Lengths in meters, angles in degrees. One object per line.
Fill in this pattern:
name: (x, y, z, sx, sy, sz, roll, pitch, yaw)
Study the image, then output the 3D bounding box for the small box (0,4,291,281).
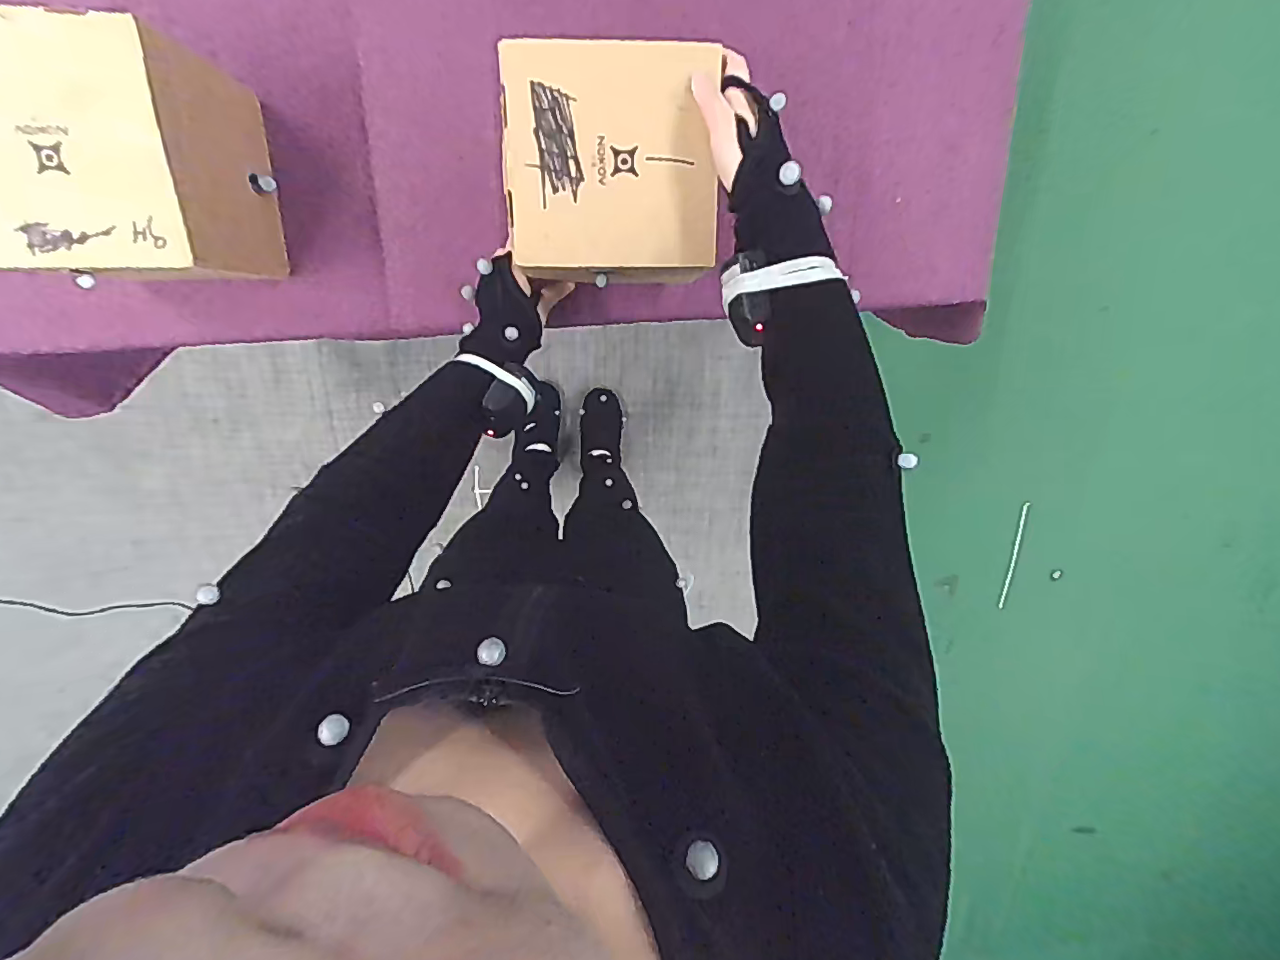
small box: (-0.452, -0.281, 0.488, 0.168, 0.176, 0.179, -1, 107, -6)

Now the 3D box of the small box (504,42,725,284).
small box: (-0.024, -0.282, 0.521, 0.179, 0.176, 0.168, -1, 106, -3)
